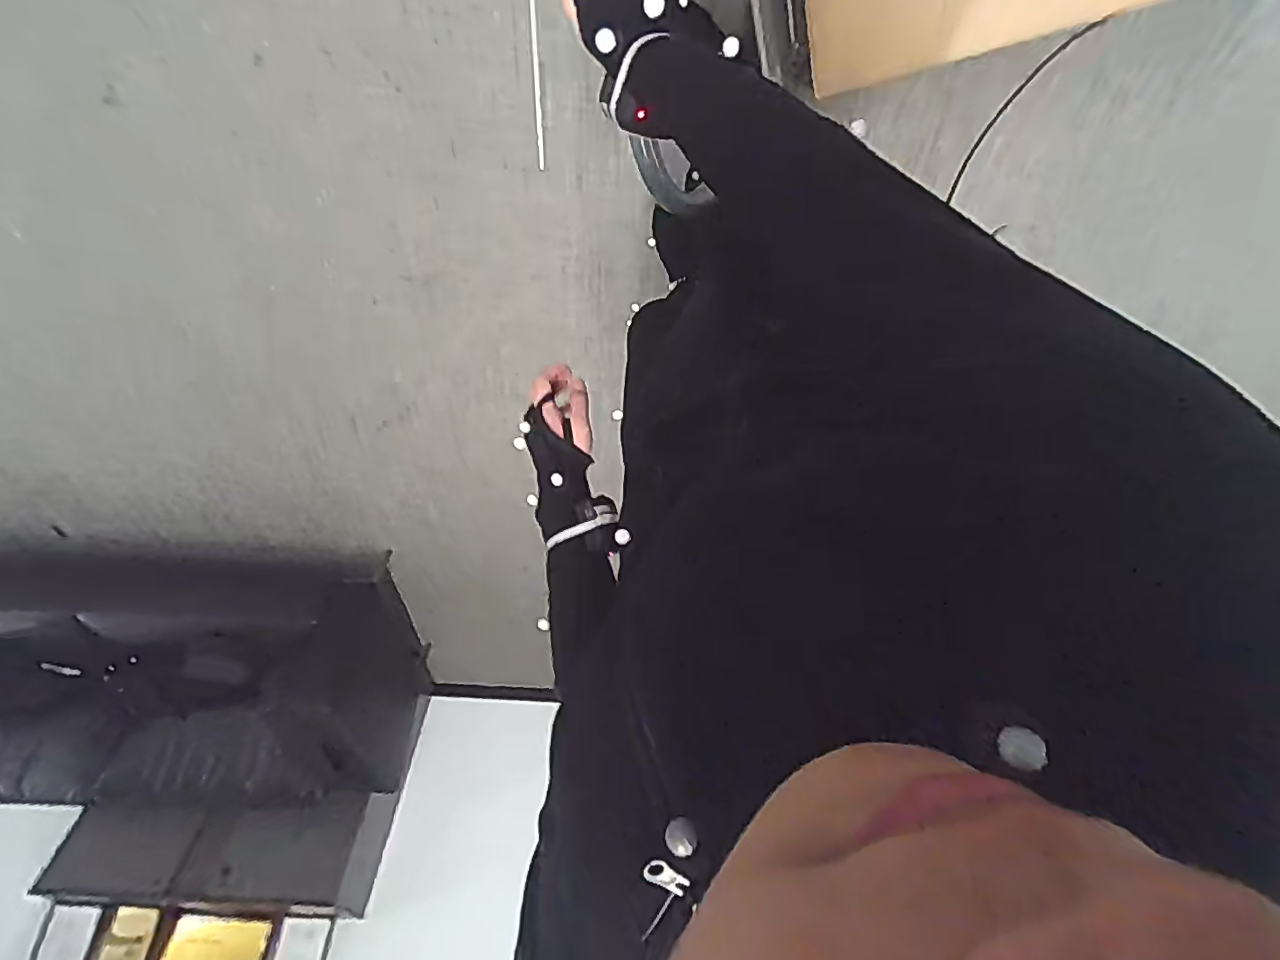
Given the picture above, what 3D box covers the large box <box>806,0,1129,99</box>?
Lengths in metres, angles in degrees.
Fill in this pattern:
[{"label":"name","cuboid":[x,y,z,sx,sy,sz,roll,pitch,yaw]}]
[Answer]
[{"label":"large box","cuboid":[0.429,-0.776,0.707,0.408,0.320,0.320,-1,136,26]}]
